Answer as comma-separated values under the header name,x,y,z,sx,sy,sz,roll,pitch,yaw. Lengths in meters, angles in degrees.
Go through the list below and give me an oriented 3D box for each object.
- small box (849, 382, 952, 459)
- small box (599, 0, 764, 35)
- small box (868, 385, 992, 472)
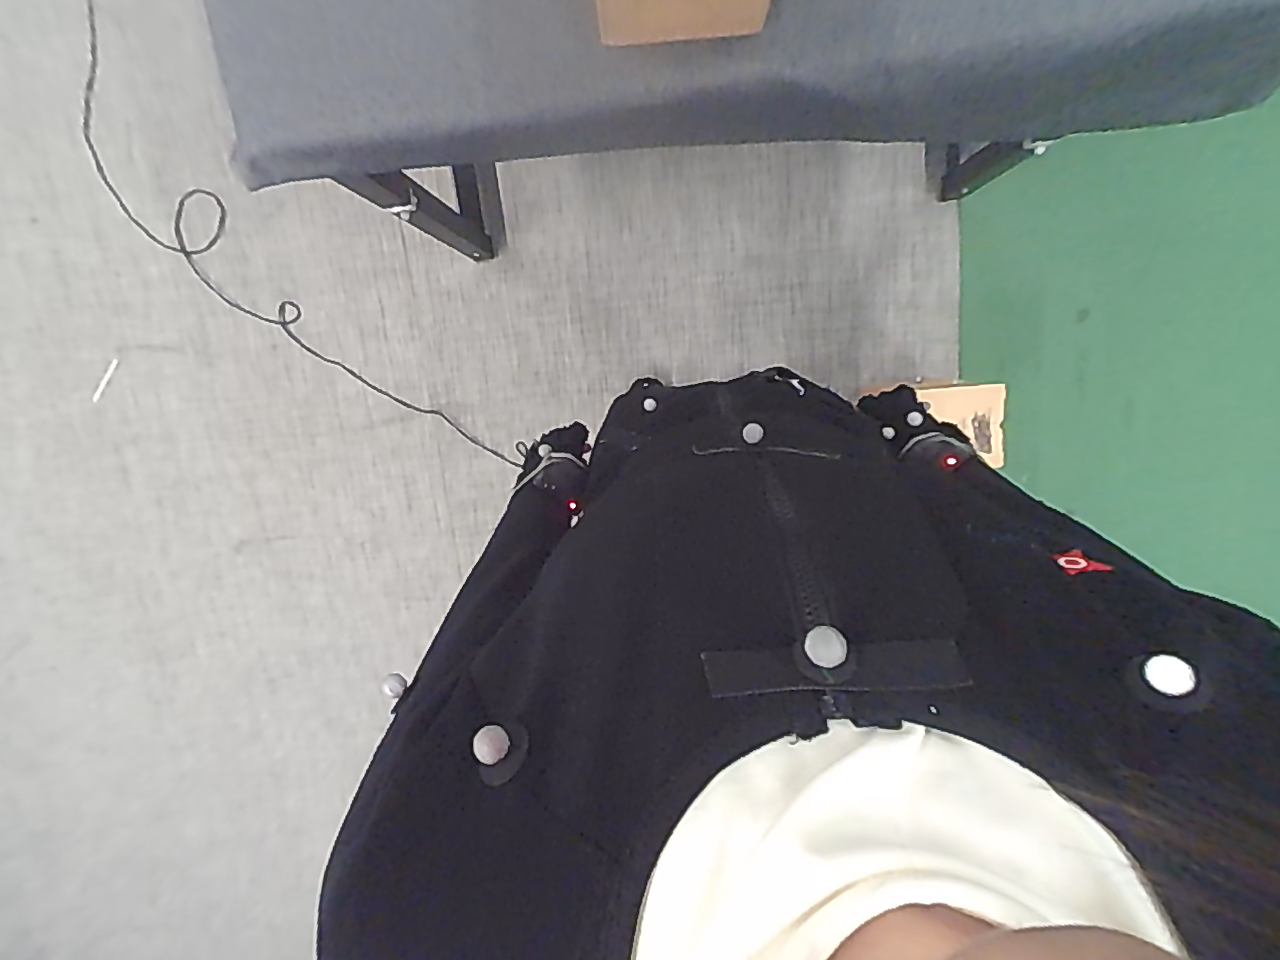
name,x,y,z,sx,sy,sz,roll,pitch,yaw
small box,0.621,-0.147,1.301,0.179,0.176,0.168,-5,100,5
small box,0.040,-0.553,0.499,0.179,0.176,0.168,-2,100,3
small box,0.602,-0.114,1.140,0.179,0.176,0.168,-3,100,4
